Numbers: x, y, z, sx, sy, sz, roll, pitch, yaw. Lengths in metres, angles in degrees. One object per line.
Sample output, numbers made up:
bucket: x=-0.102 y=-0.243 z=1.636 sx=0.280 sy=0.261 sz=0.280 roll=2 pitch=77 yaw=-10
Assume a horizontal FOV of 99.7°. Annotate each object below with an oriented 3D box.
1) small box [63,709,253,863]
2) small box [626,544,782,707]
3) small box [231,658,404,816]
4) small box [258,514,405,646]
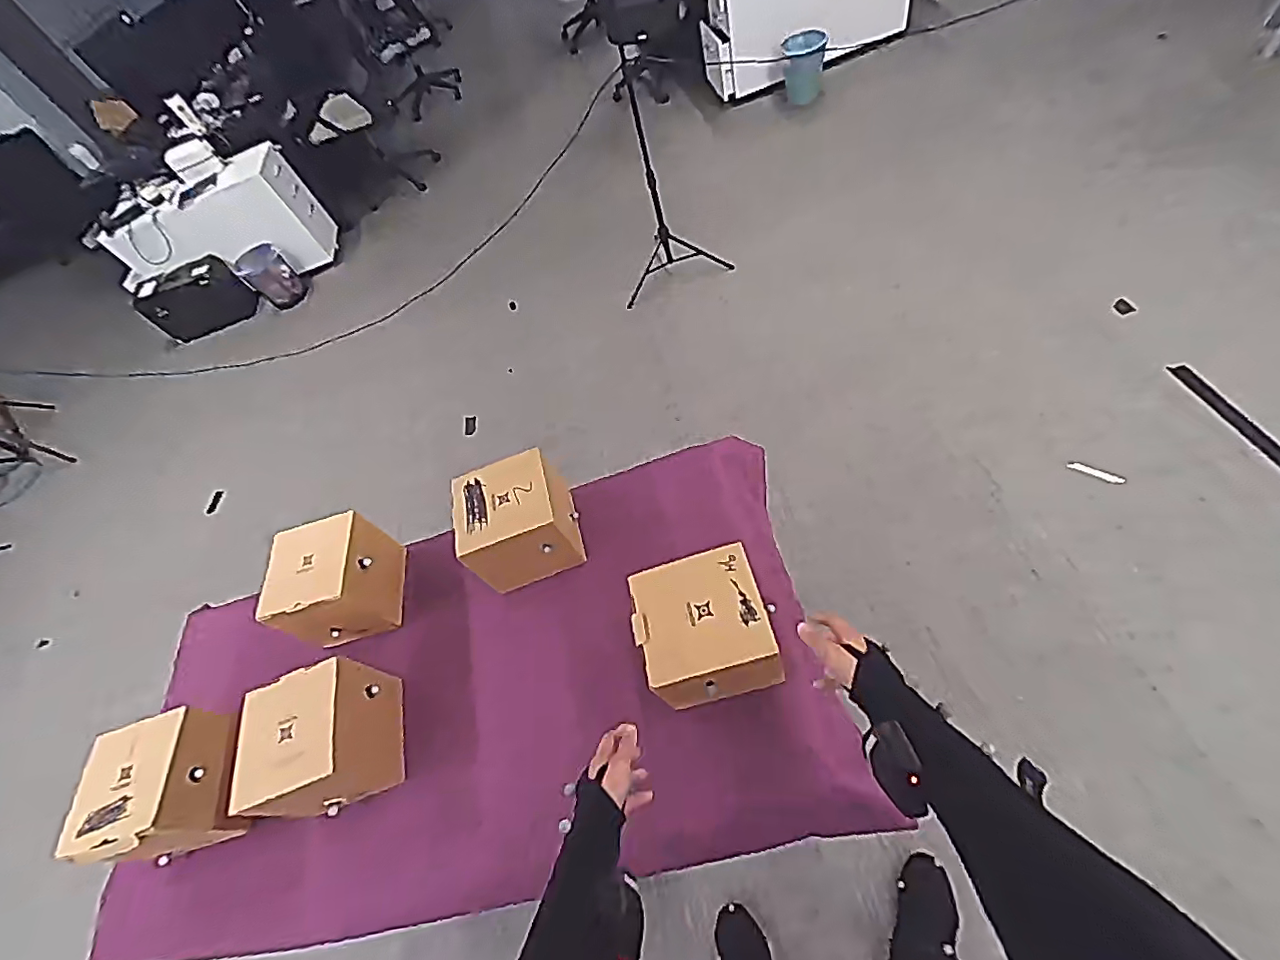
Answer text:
small box: x=-0.761 y=0.503 z=0.891 sx=0.168 sy=0.176 sz=0.179 roll=-20 pitch=53 yaw=4
small box: x=0.098 y=0.223 z=0.801 sx=0.179 sy=0.176 sz=0.168 roll=-18 pitch=55 yaw=7
small box: x=-0.501 y=0.417 z=0.868 sx=0.168 sy=0.176 sz=0.179 roll=-23 pitch=54 yaw=3
small box: x=-0.570 y=0.194 z=1.028 sx=0.168 sy=0.176 sz=0.179 roll=-16 pitch=56 yaw=6
